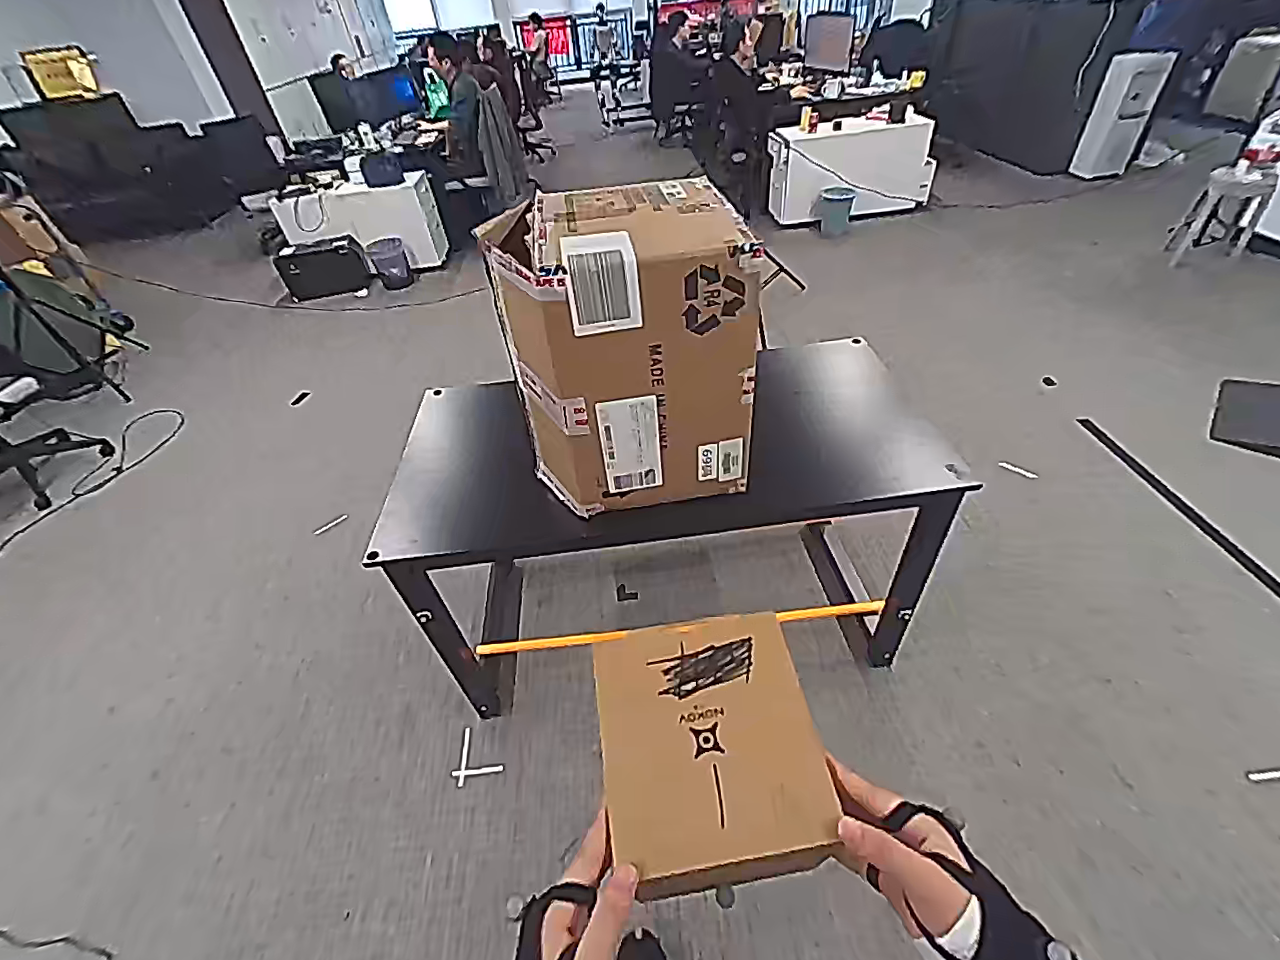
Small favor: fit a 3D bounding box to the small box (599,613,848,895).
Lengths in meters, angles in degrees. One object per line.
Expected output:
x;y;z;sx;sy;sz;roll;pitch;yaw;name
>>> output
0.059;0.247;0.486;0.168;0.176;0.179;-10;49;-1;small box
